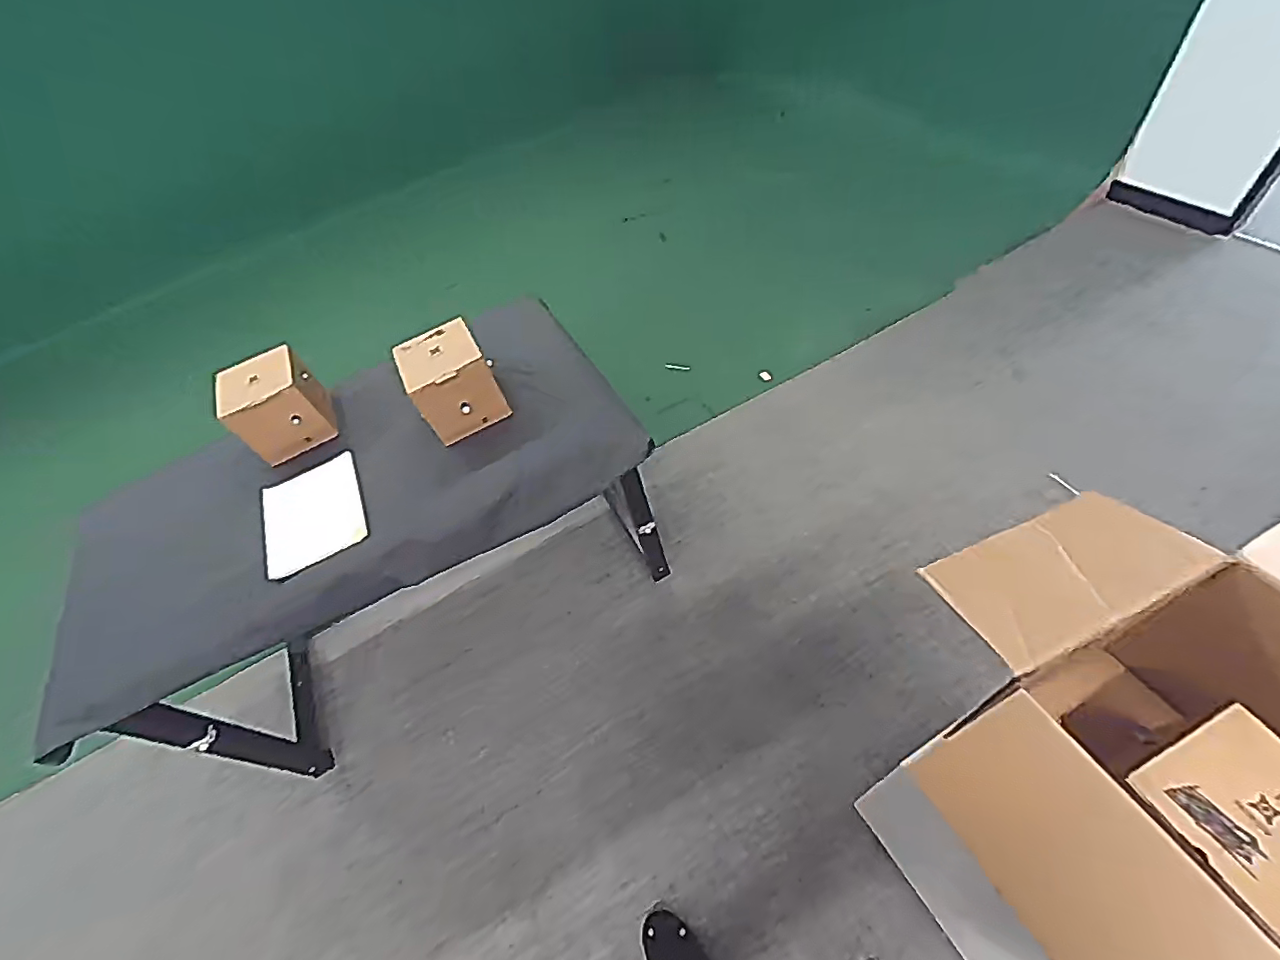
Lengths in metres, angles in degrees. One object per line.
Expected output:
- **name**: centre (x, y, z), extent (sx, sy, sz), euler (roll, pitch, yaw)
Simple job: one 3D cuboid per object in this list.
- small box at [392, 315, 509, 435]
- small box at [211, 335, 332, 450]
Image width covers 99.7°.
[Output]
- **small box**: centre (-0.410, -0.222, 1.190), extent (0.168, 0.176, 0.179), euler (-28, 55, -9)
- **small box**: centre (-0.839, -0.192, 1.241), extent (0.168, 0.176, 0.179), euler (-28, 53, -10)
